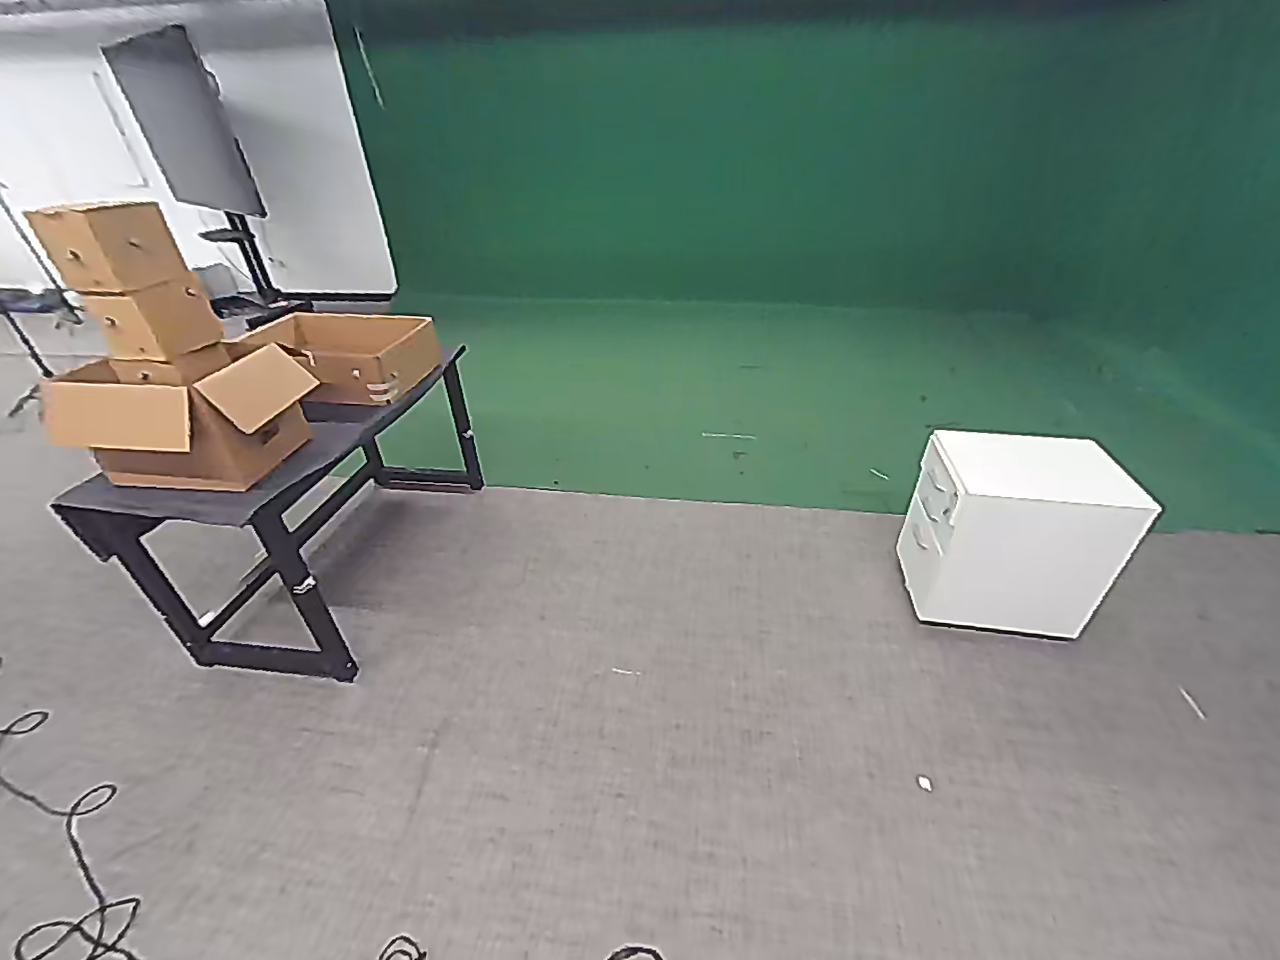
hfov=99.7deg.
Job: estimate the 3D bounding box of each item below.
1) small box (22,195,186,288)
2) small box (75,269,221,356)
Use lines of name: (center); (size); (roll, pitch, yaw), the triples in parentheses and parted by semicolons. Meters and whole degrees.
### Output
small box: (-1.215, -0.550, 1.244); (0.168, 0.176, 0.179); (6, 35, 11)
small box: (-1.206, -0.418, 1.342); (0.168, 0.176, 0.179); (7, 35, 12)
